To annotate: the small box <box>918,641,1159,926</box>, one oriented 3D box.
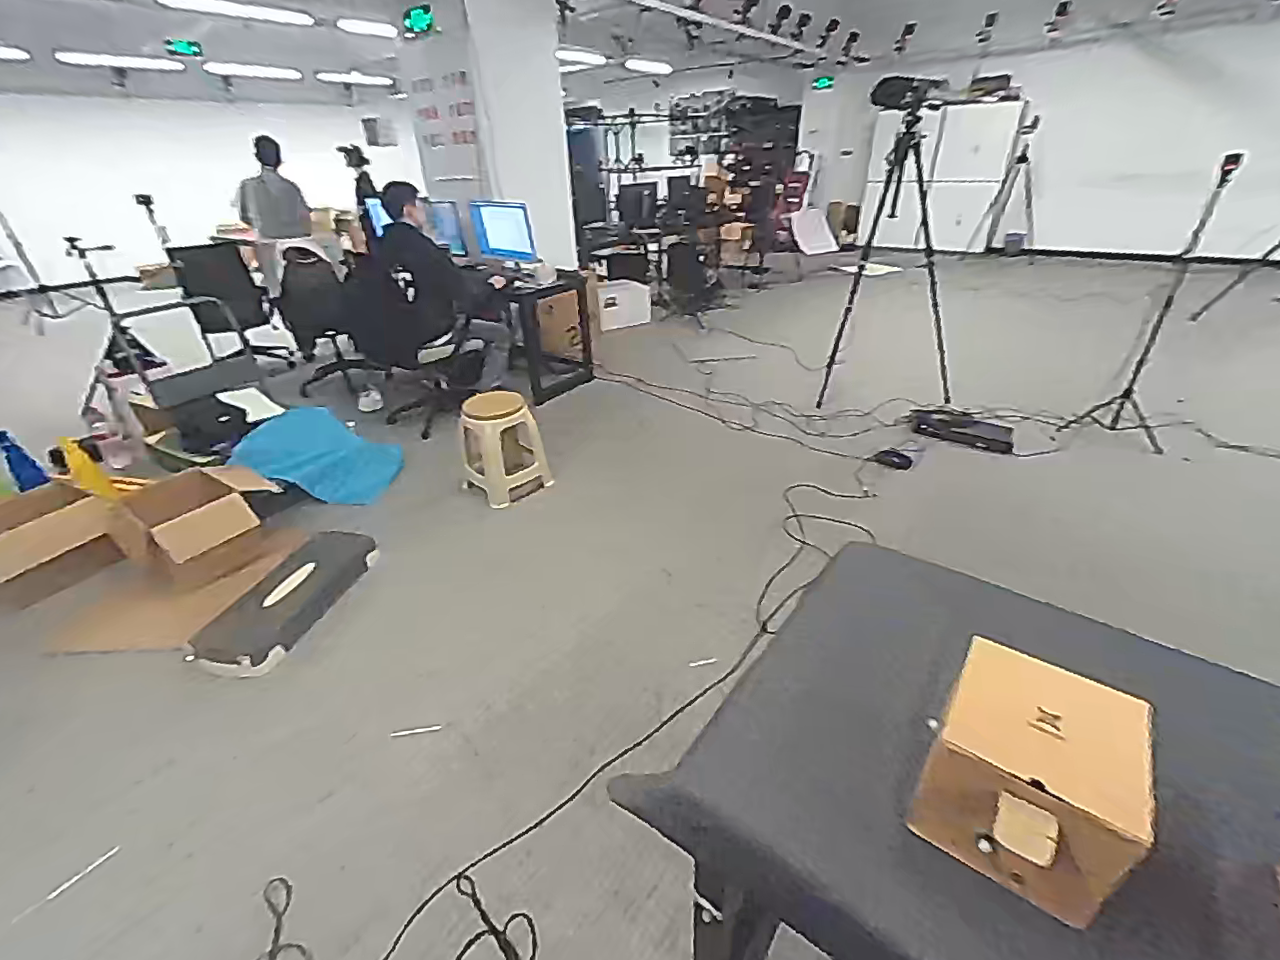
[{"bbox_3d":[0.428,0.323,0.596,0.168,0.176,0.179,20,38,33],"label":"small box"}]
